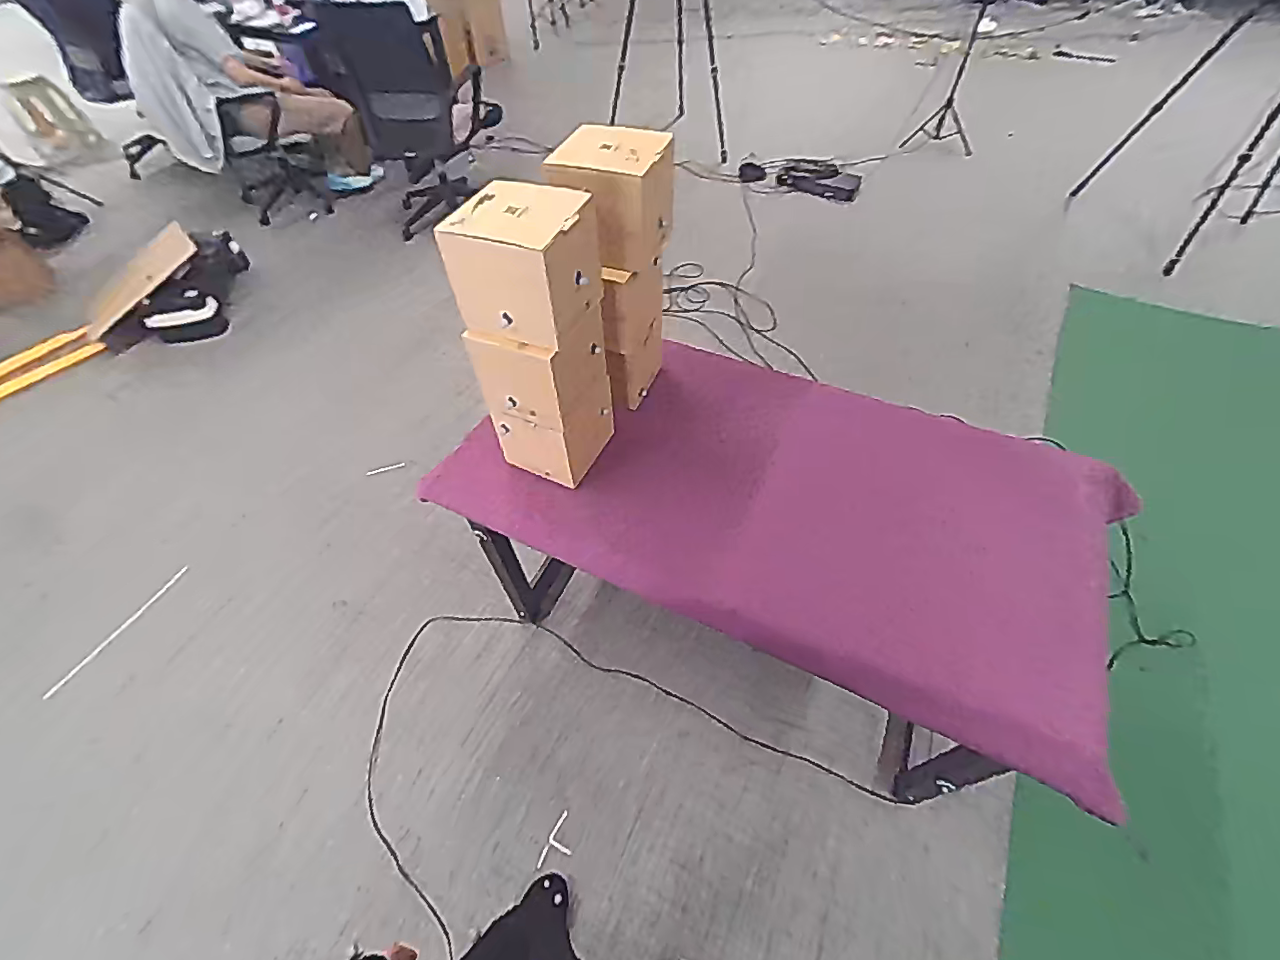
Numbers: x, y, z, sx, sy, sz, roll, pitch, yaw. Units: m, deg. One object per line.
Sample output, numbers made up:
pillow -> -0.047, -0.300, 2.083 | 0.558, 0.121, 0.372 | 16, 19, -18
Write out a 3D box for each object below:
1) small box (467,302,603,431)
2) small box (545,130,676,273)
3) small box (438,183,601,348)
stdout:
small box -> -0.173, -0.219, 0.961 | 0.168, 0.176, 0.179 | 19, 55, 16
small box -> -0.044, -0.492, 0.961 | 0.179, 0.176, 0.168 | 16, 55, 13
small box -> -0.171, -0.328, 0.839 | 0.179, 0.176, 0.168 | 17, 54, 14
